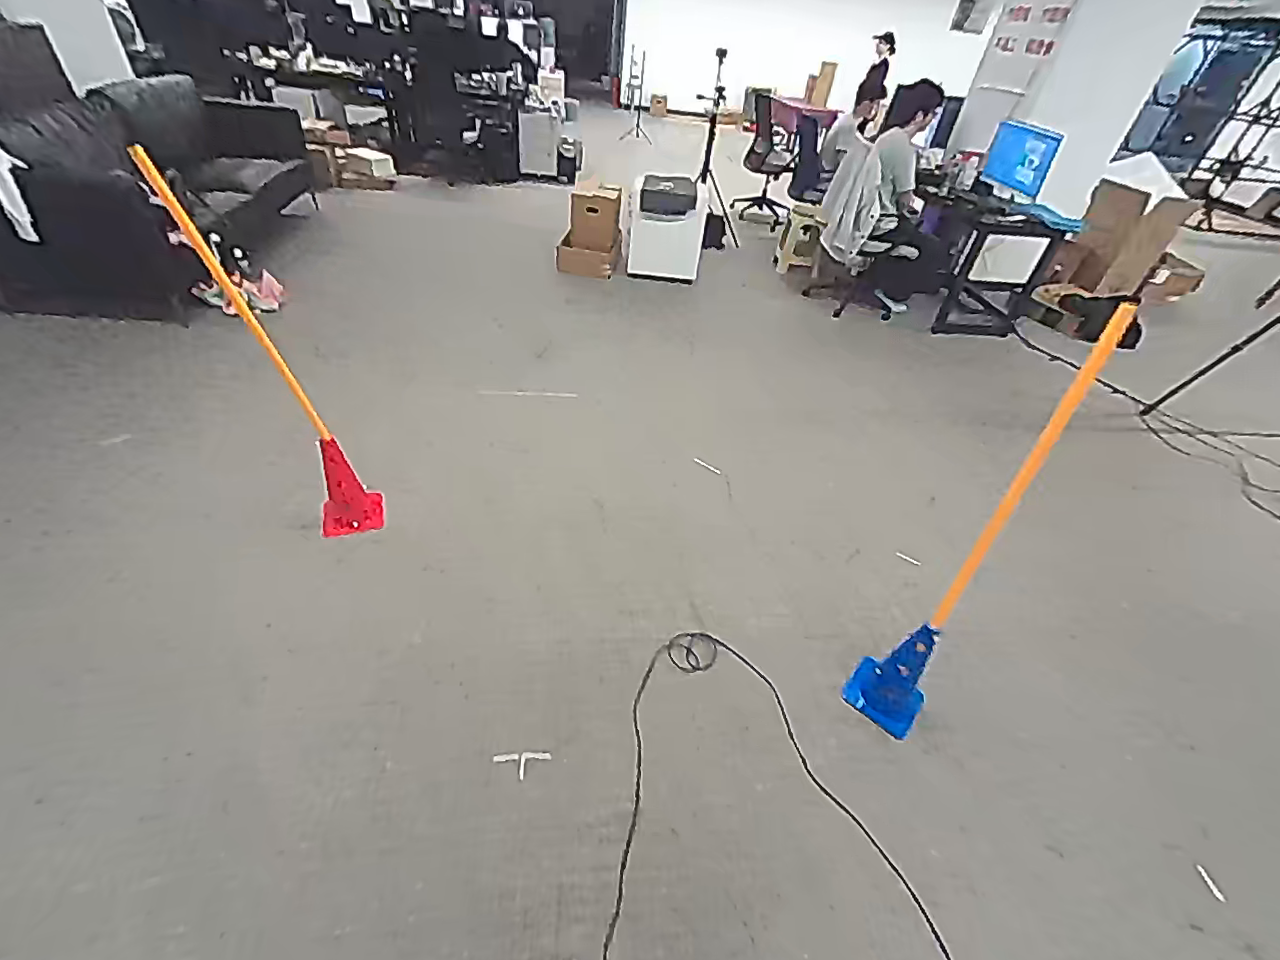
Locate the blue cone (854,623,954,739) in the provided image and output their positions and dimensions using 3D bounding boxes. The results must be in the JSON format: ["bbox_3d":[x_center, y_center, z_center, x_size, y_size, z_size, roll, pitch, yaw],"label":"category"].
[{"bbox_3d":[0.765,0.526,1.516,0.192,0.380,0.193,32,44,27],"label":"blue cone"}]
